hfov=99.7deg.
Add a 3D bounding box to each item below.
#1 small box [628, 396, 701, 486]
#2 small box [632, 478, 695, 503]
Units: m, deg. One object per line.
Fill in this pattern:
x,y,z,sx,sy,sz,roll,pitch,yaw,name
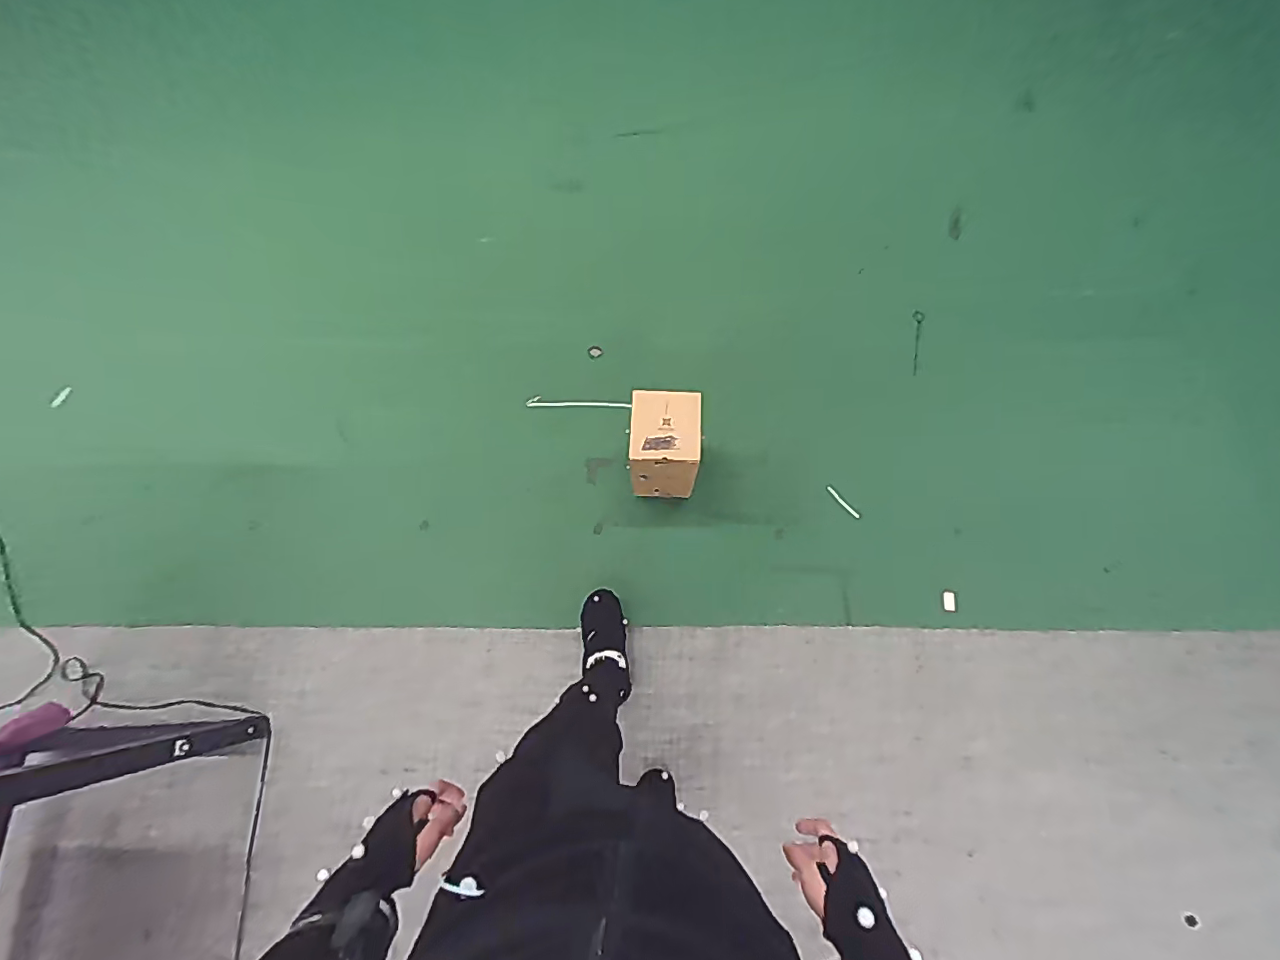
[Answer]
0.060,-0.090,1.336,0.168,0.176,0.179,3,73,1,small box
0.062,-0.043,1.494,0.168,0.176,0.179,1,74,1,small box
